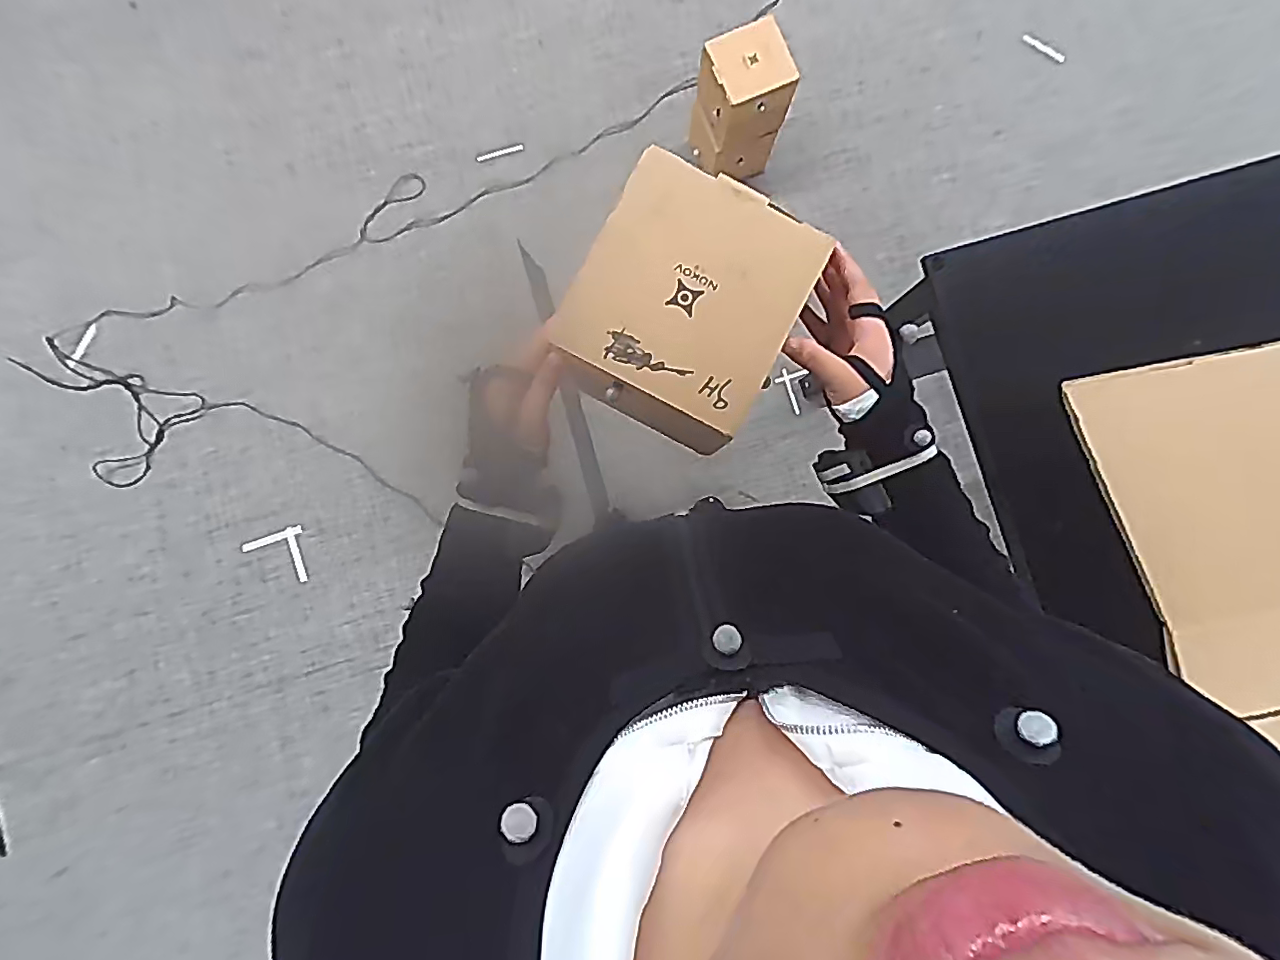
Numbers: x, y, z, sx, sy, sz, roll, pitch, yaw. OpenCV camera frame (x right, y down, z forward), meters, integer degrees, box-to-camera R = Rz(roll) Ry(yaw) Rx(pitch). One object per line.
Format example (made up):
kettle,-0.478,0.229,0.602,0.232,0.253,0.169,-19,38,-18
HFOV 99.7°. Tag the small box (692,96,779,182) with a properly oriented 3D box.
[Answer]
small box,0.255,-0.943,1.483,0.179,0.176,0.168,-20,87,0

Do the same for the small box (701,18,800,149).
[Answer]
small box,0.259,-0.955,1.321,0.179,0.176,0.168,-23,88,-2

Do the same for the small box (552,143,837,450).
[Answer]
small box,0.042,-0.145,0.492,0.168,0.176,0.179,28,87,3
